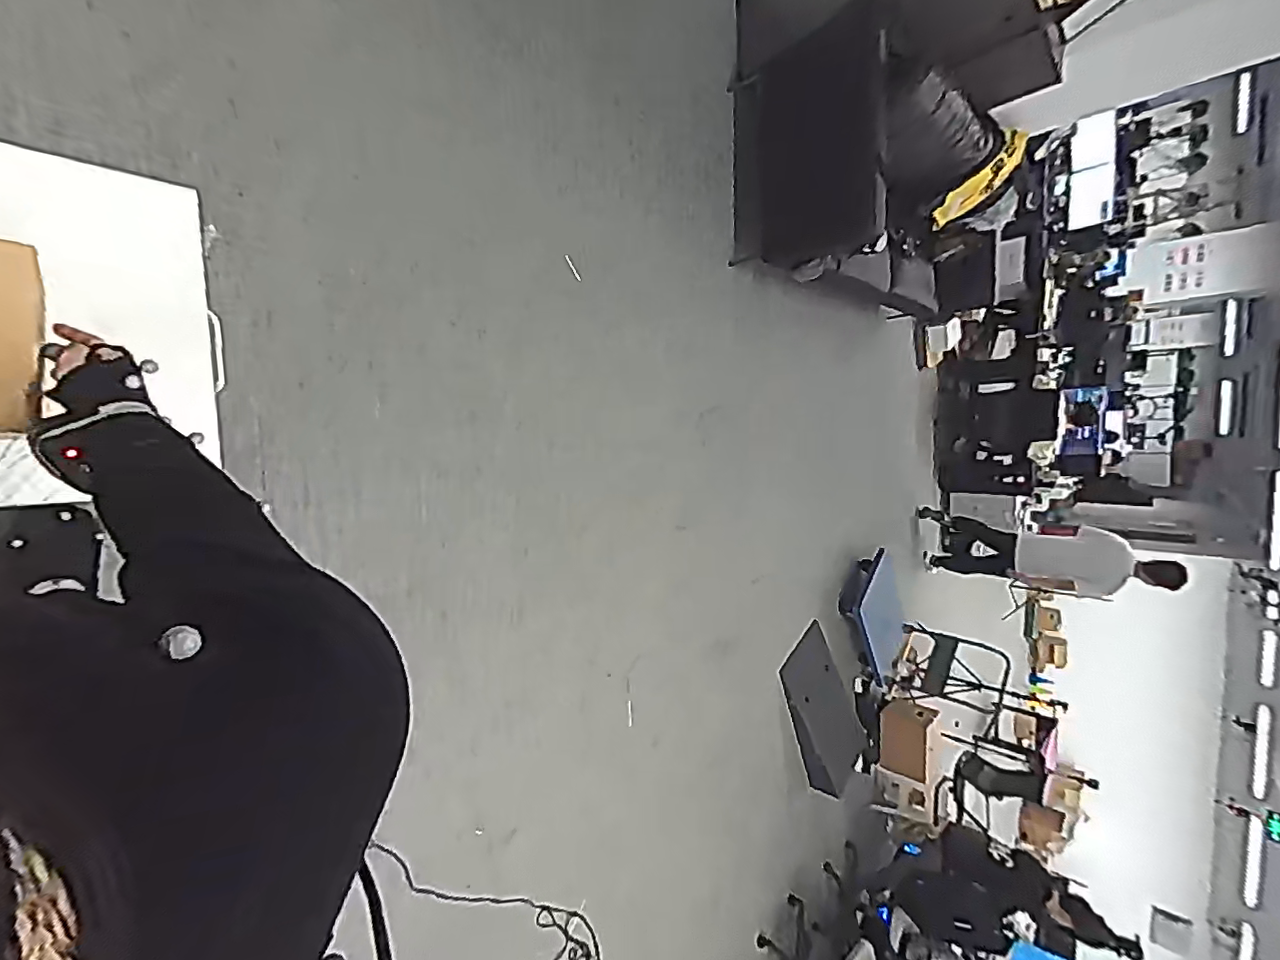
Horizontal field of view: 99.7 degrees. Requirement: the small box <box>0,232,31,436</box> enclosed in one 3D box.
[{"bbox_3d":[-0.668,-0.132,0.480,0.168,0.176,0.179,-2,94,-48],"label":"small box"}]
